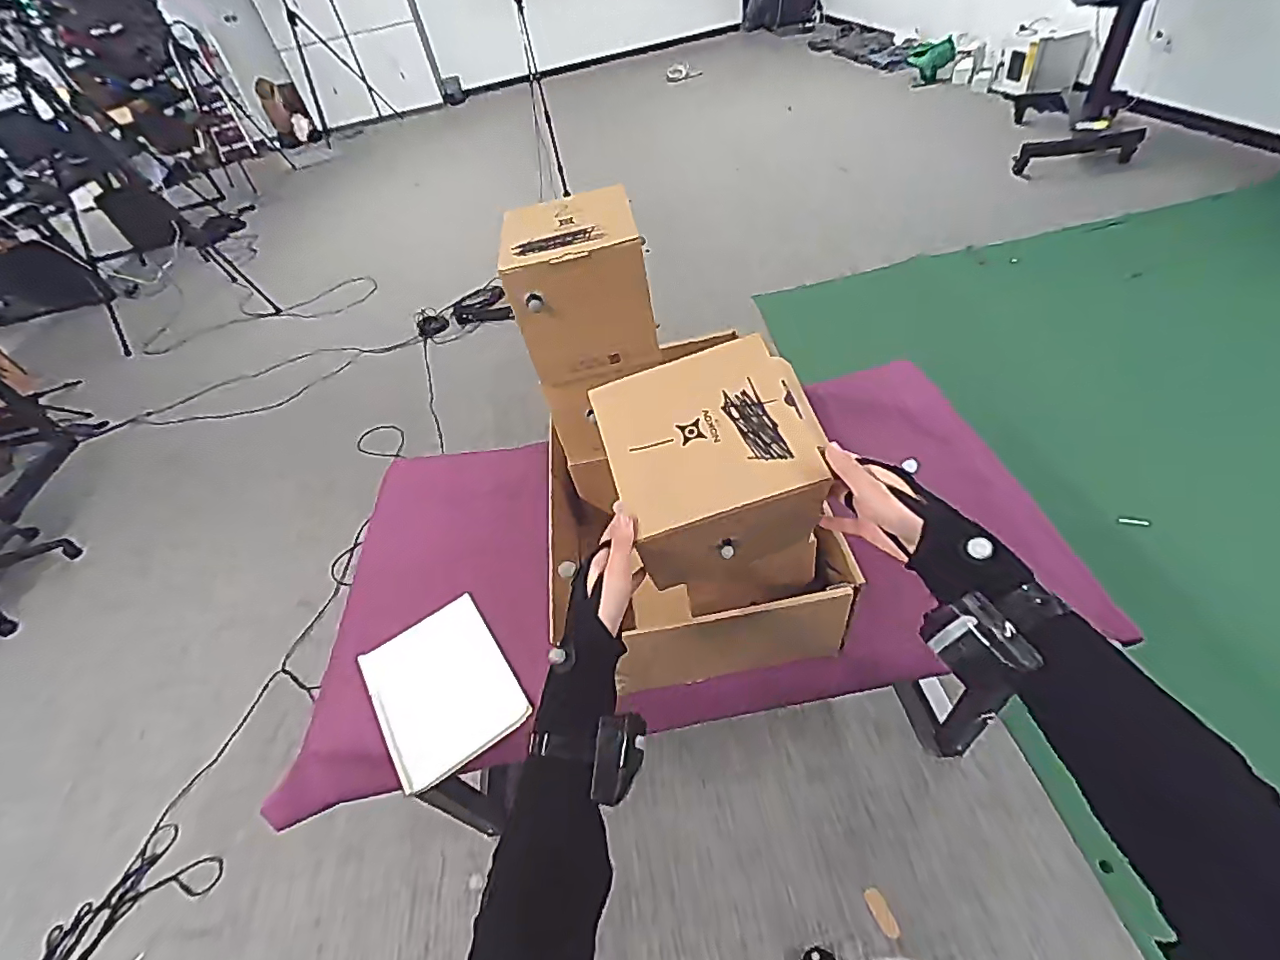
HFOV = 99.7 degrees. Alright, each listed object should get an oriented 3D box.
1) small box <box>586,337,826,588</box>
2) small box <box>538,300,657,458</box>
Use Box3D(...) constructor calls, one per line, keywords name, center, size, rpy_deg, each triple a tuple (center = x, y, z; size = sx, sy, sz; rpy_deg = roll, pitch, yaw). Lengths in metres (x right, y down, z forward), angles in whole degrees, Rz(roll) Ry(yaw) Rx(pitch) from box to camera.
Box3D(name="small box", center=(0.063, -0.008, 0.548), size=(0.179, 0.176, 0.168), rpy_deg=(-18, 62, 2))
Box3D(name="small box", center=(-0.053, -0.150, 0.848), size=(0.168, 0.176, 0.179), rpy_deg=(-11, 47, 4))
